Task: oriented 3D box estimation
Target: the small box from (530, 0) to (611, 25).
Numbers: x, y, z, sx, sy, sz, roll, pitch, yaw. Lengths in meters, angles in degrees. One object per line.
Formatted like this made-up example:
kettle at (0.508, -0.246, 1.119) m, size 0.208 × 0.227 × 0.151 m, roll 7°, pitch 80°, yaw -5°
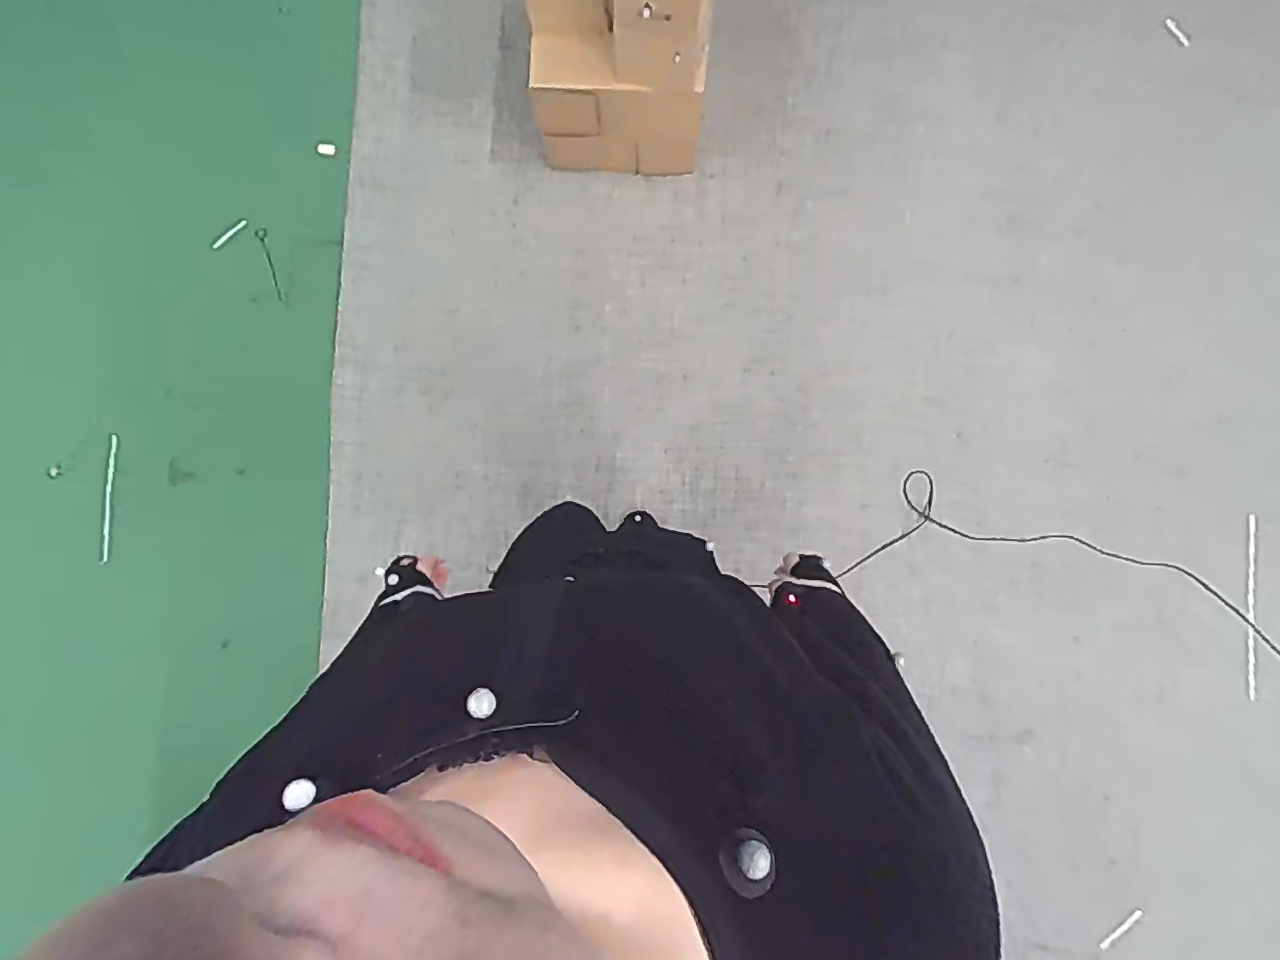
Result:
small box at (-0.150, -1.110, 1.143) m, size 0.179 × 0.176 × 0.168 m, roll 2°, pitch 87°, yaw 3°

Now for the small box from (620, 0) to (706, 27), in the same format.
small box at (0.051, -0.973, 0.964) m, size 0.168 × 0.176 × 0.179 m, roll 12°, pitch 89°, yaw 3°
